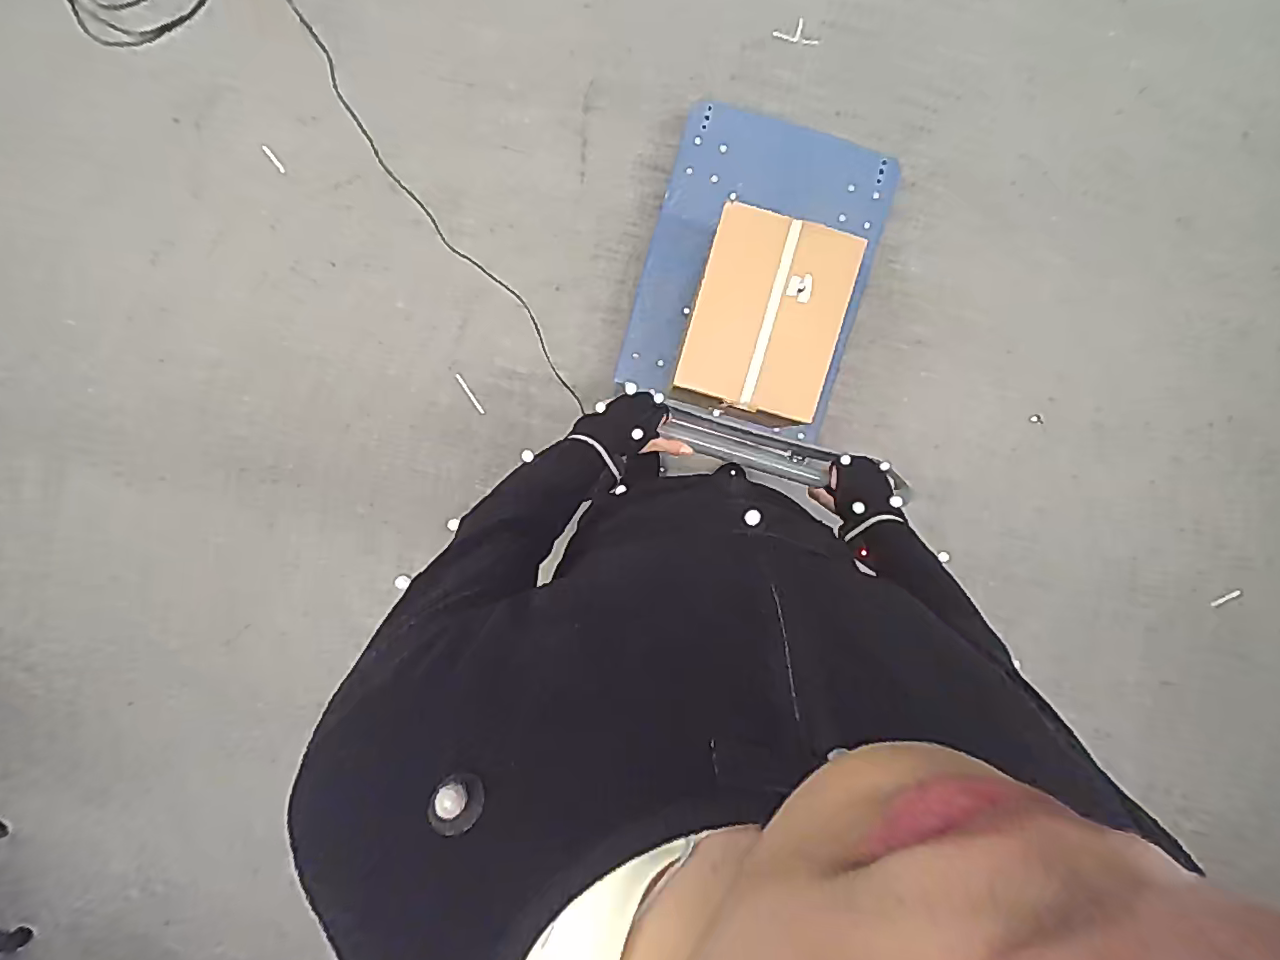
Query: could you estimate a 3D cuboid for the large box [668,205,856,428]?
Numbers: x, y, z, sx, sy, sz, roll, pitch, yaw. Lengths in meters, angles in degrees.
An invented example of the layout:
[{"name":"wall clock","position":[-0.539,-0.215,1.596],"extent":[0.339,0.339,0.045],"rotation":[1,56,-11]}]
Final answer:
[{"name":"large box","position":[0.266,-0.362,1.306],"extent":[0.320,0.320,0.408],"rotation":[16,92,-1]}]
